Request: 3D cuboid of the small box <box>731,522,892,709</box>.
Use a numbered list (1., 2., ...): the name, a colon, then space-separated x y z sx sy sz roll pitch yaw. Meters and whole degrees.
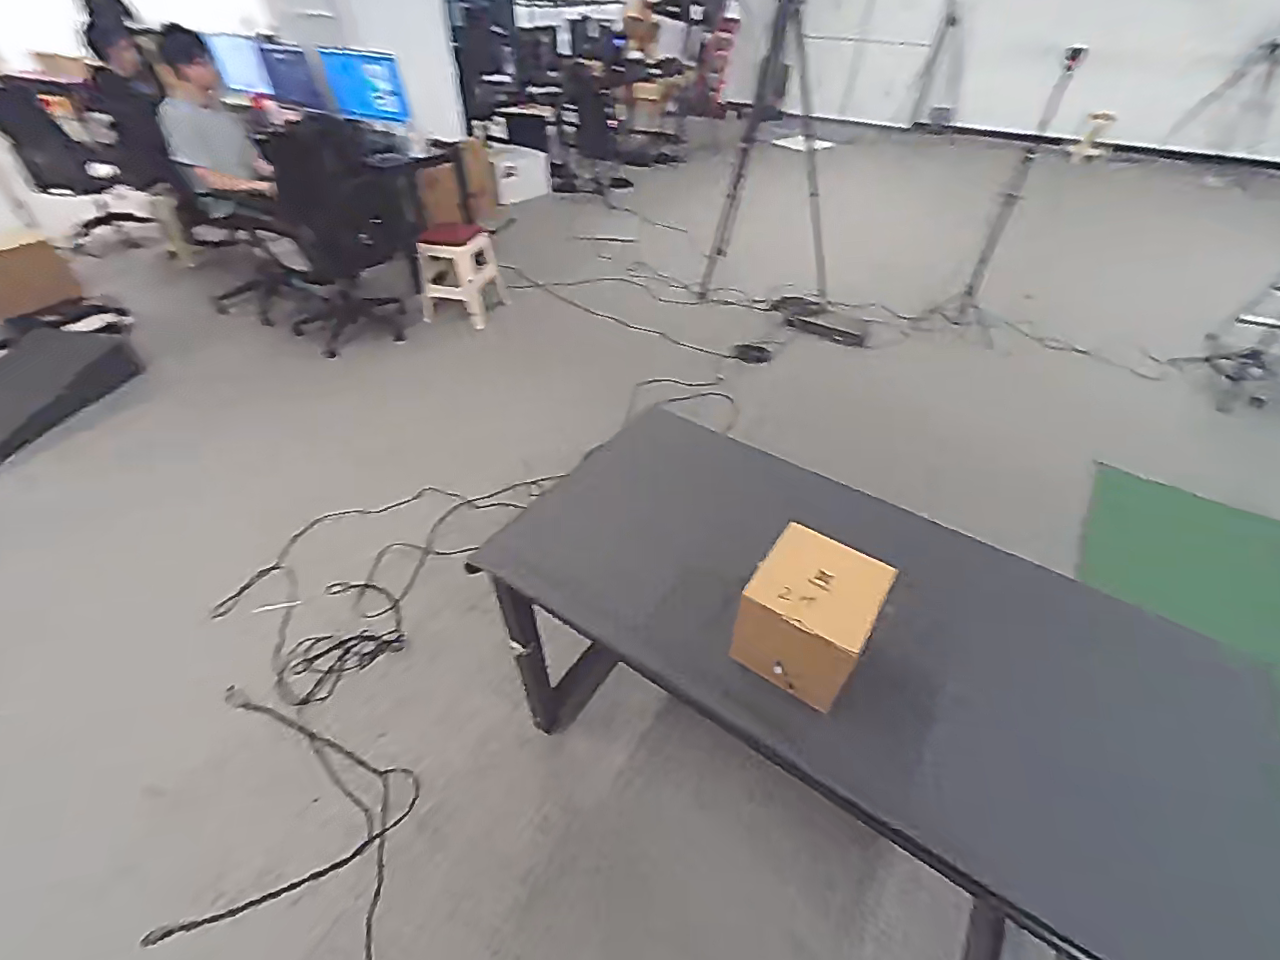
1. small box: 0.252 0.203 0.822 0.168 0.176 0.179 25 47 25
